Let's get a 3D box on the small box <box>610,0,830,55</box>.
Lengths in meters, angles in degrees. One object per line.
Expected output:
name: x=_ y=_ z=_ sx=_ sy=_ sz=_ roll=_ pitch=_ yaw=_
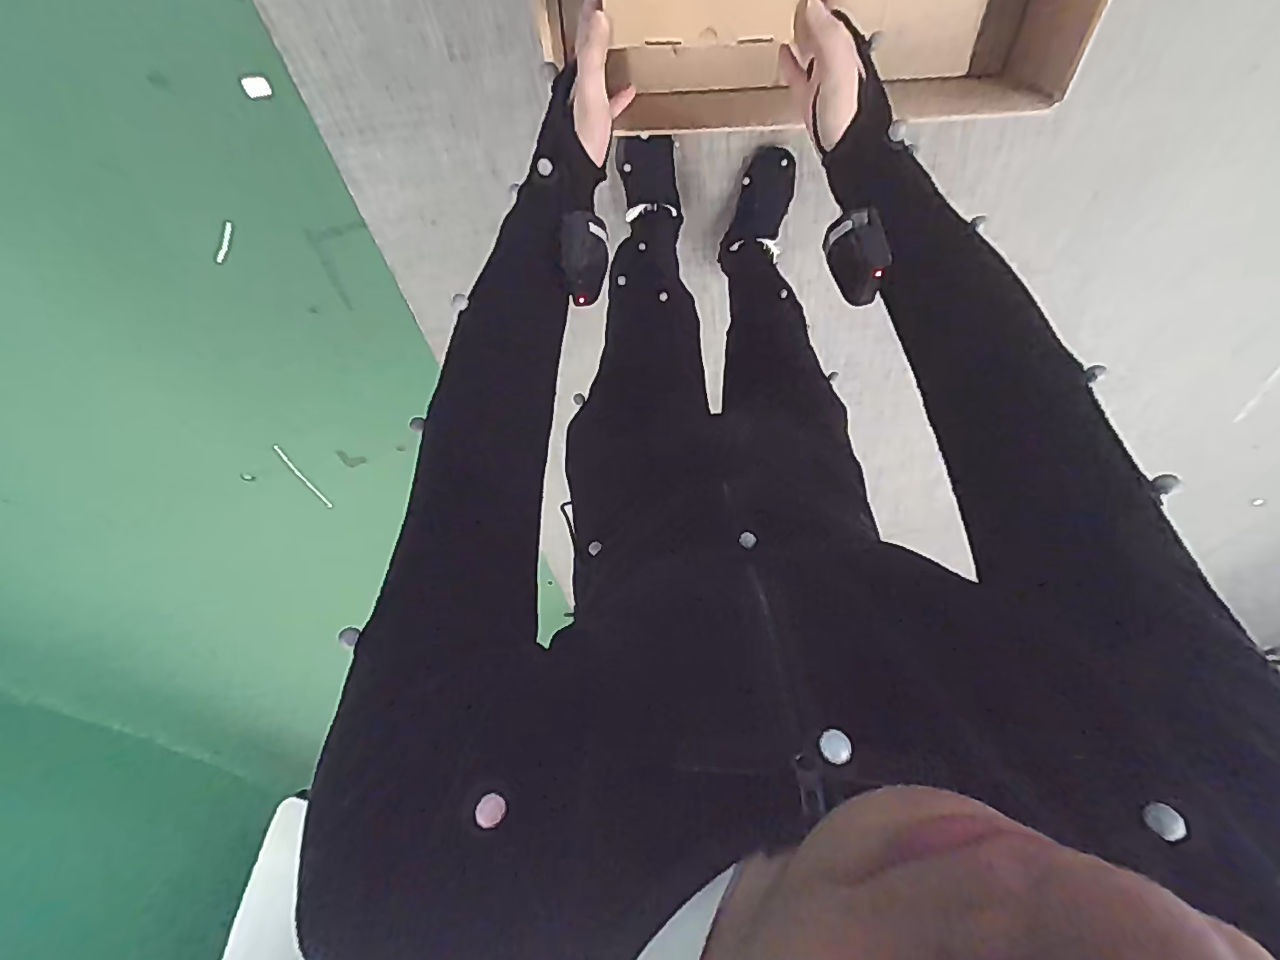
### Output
small box: x=0.058 y=-0.456 z=0.427 sx=0.168 sy=0.176 sz=0.179 roll=-3 pitch=135 yaw=-2

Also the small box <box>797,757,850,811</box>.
small box: x=0.769 y=1.281 z=2.287 sx=0.168 sy=0.176 sz=0.179 roll=-7 pitch=139 yaw=4
